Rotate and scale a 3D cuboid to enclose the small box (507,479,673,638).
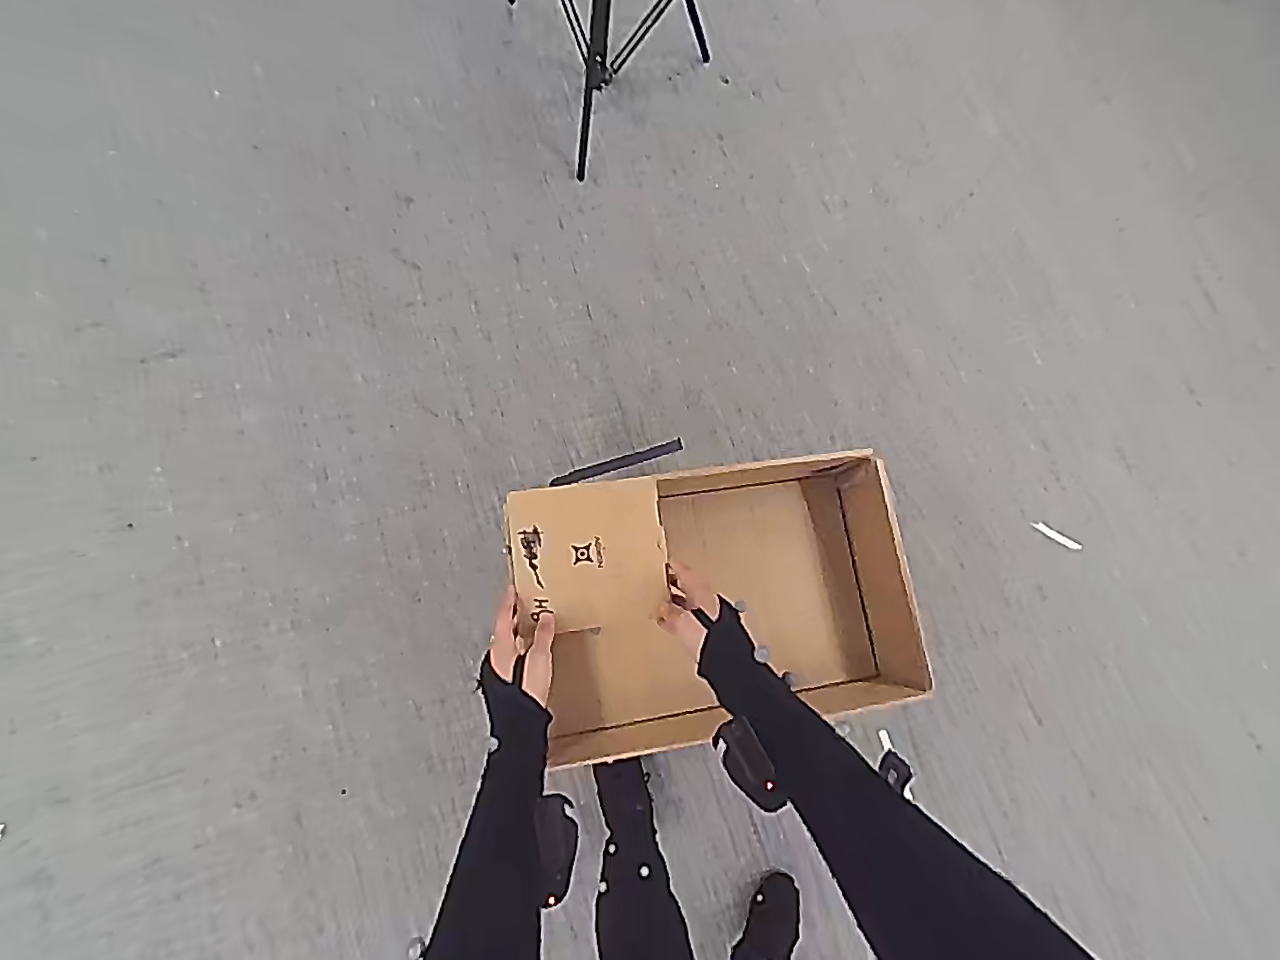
[{"bbox_3d":[-0.067,0.100,0.685,0.179,0.176,0.168,-6,79,-8],"label":"small box"}]
